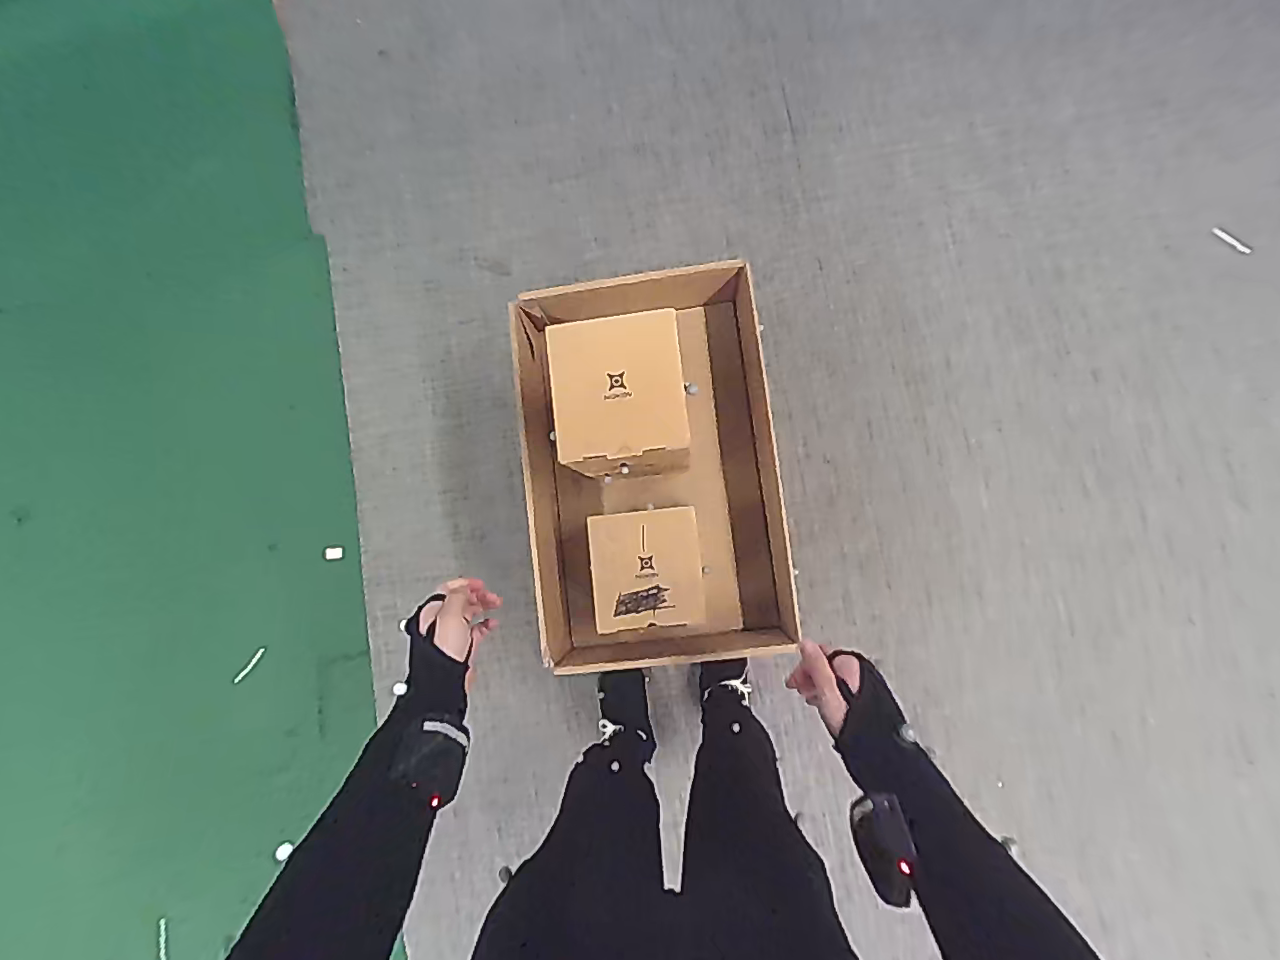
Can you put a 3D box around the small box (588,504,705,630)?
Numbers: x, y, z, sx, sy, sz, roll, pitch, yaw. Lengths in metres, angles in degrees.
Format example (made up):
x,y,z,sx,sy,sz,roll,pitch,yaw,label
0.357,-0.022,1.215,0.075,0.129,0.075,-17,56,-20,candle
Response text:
x,y,z,sx,sy,sz,roll,pitch,yaw,label
0.017,0.136,0.879,0.168,0.176,0.179,-6,83,4,small box

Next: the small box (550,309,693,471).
x,y,z,sx,sy,sz,roll,pitch,yaw,label
-0.019,-0.112,0.745,0.168,0.176,0.179,-7,86,4,small box
